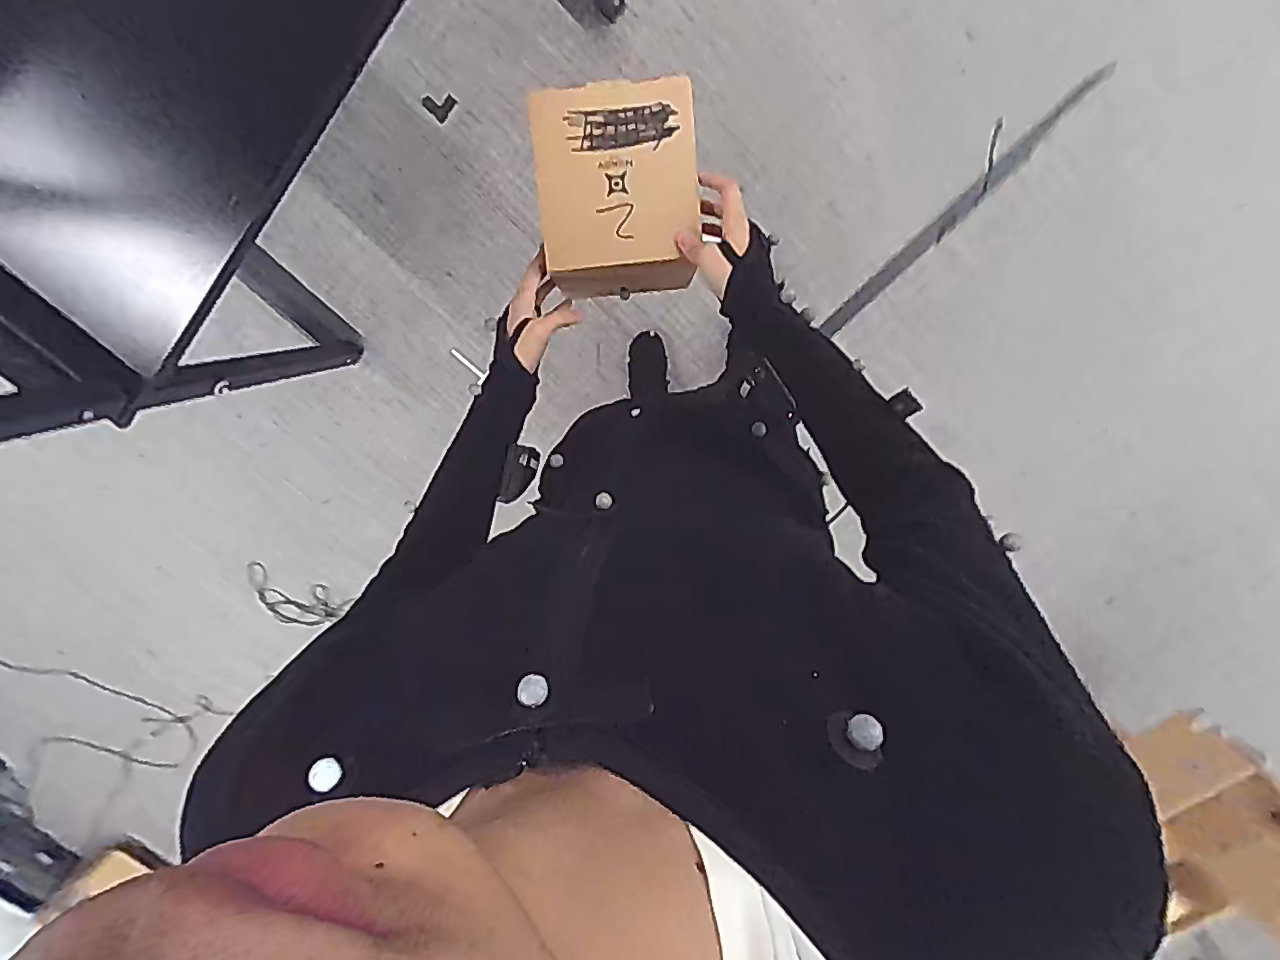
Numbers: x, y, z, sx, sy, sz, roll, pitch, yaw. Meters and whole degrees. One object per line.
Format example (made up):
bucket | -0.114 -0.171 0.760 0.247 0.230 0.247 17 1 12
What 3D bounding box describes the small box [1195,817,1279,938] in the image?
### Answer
small box | 1.399 0.881 1.183 0.179 0.176 0.168 38 107 -11
